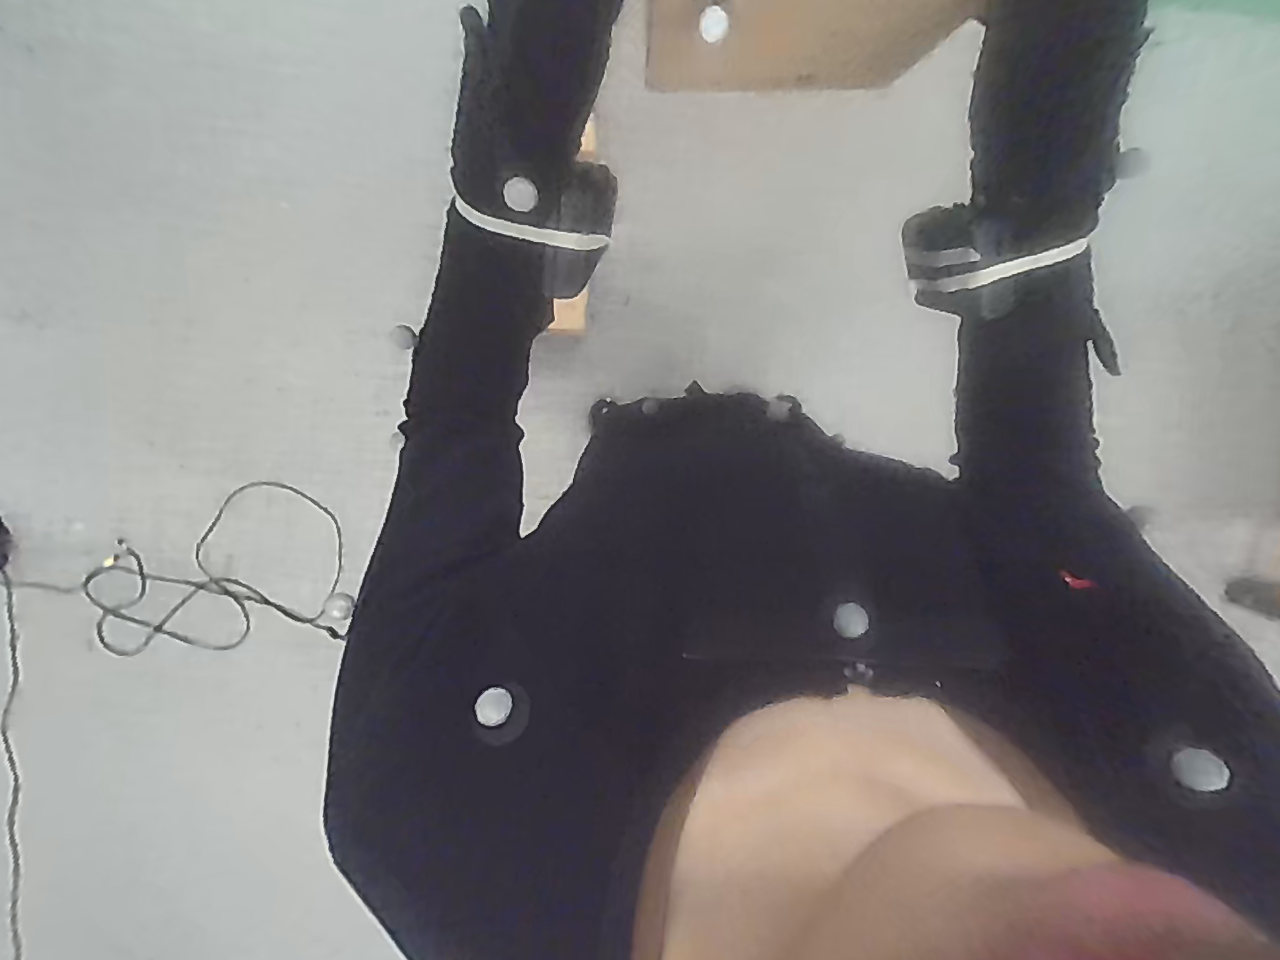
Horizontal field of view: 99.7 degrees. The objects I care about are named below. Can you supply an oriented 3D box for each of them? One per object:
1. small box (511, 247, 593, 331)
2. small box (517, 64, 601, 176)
[{"bbox_3d":[-0.208,-0.456,1.313,0.179,0.176,0.168,2,101,-3],"label":"small box"},{"bbox_3d":[-0.180,-0.825,1.253,0.179,0.176,0.168,0,99,-1],"label":"small box"}]
